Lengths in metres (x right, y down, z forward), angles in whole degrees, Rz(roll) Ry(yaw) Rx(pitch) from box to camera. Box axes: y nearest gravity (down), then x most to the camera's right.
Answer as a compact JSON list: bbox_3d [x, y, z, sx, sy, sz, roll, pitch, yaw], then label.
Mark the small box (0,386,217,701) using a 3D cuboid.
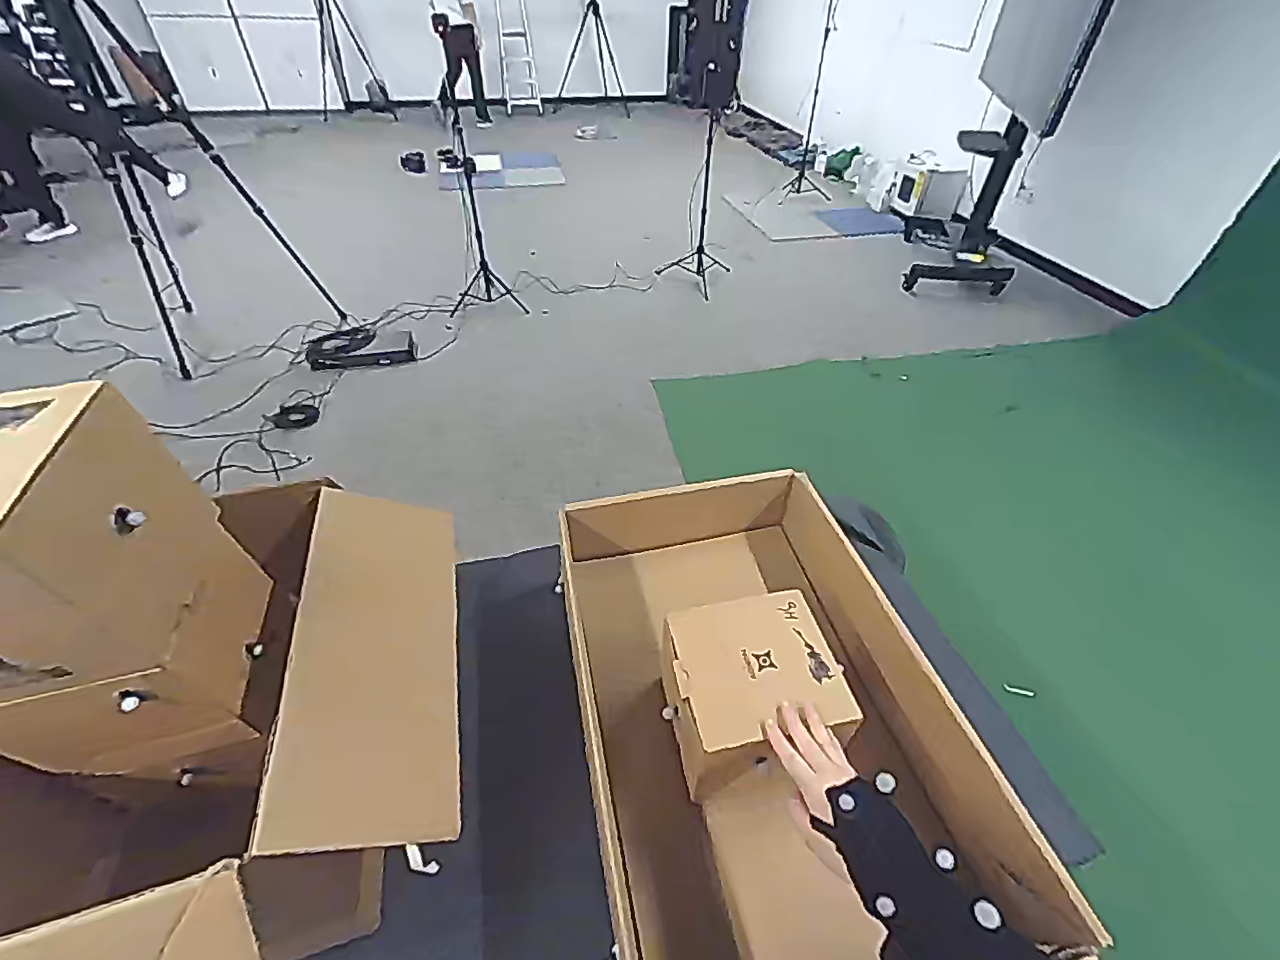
[{"bbox_3d":[-0.485,0.052,0.430,0.168,0.176,0.179,-10,48,-9],"label":"small box"}]
